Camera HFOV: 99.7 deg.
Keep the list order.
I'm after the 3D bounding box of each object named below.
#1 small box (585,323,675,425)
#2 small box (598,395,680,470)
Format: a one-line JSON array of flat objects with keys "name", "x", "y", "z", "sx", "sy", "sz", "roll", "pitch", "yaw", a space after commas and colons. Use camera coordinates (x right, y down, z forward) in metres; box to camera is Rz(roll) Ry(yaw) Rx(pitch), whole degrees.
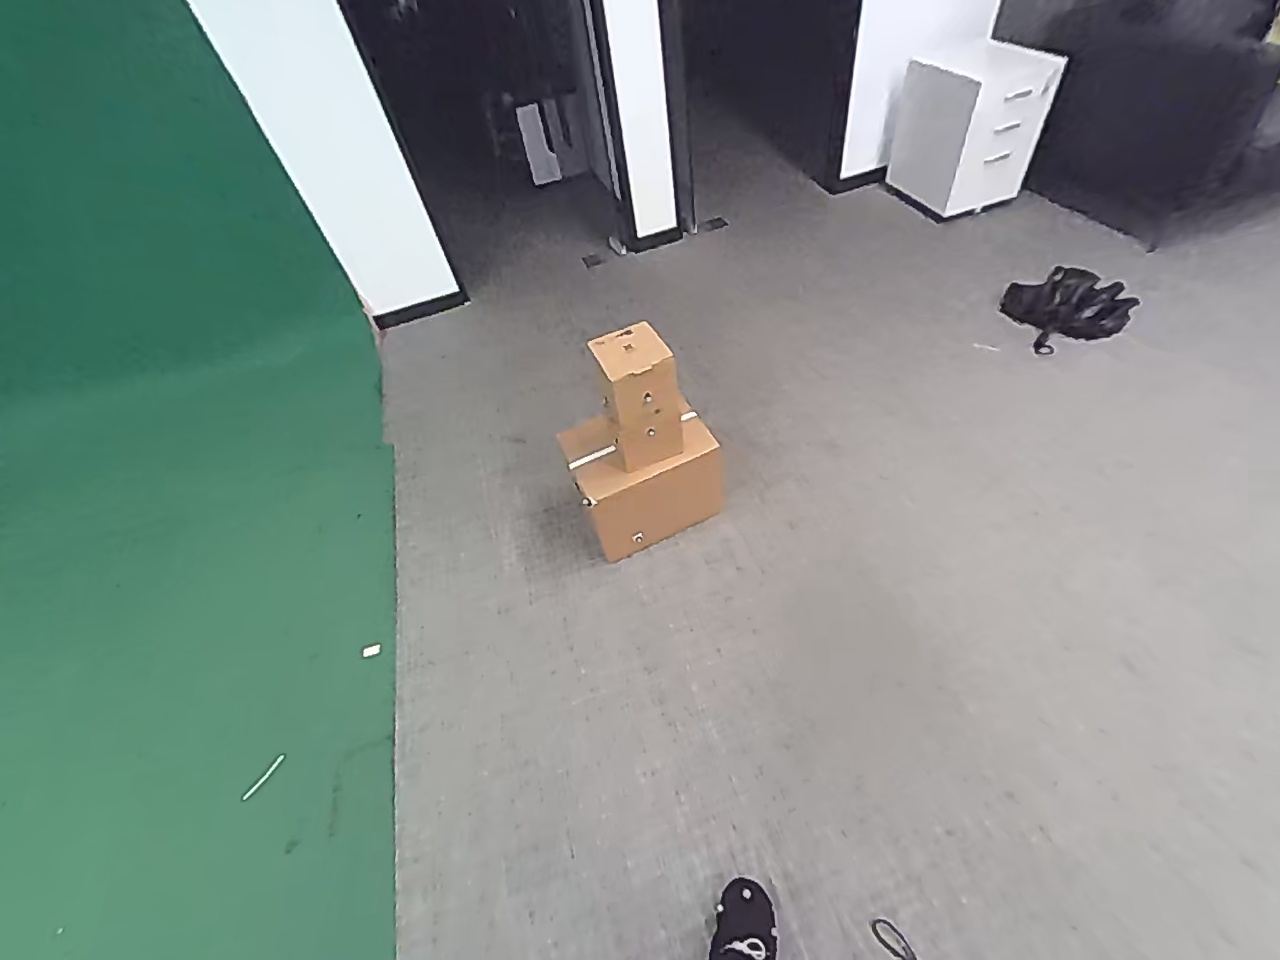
[{"name": "small box", "x": -0.021, "y": -0.262, "z": 1.375, "sx": 0.168, "sy": 0.176, "sz": 0.179, "roll": -22, "pitch": 51, "yaw": -9}, {"name": "small box", "x": 0.001, "y": -0.155, "z": 1.496, "sx": 0.179, "sy": 0.176, "sz": 0.168, "roll": -21, "pitch": 51, "yaw": -9}]
